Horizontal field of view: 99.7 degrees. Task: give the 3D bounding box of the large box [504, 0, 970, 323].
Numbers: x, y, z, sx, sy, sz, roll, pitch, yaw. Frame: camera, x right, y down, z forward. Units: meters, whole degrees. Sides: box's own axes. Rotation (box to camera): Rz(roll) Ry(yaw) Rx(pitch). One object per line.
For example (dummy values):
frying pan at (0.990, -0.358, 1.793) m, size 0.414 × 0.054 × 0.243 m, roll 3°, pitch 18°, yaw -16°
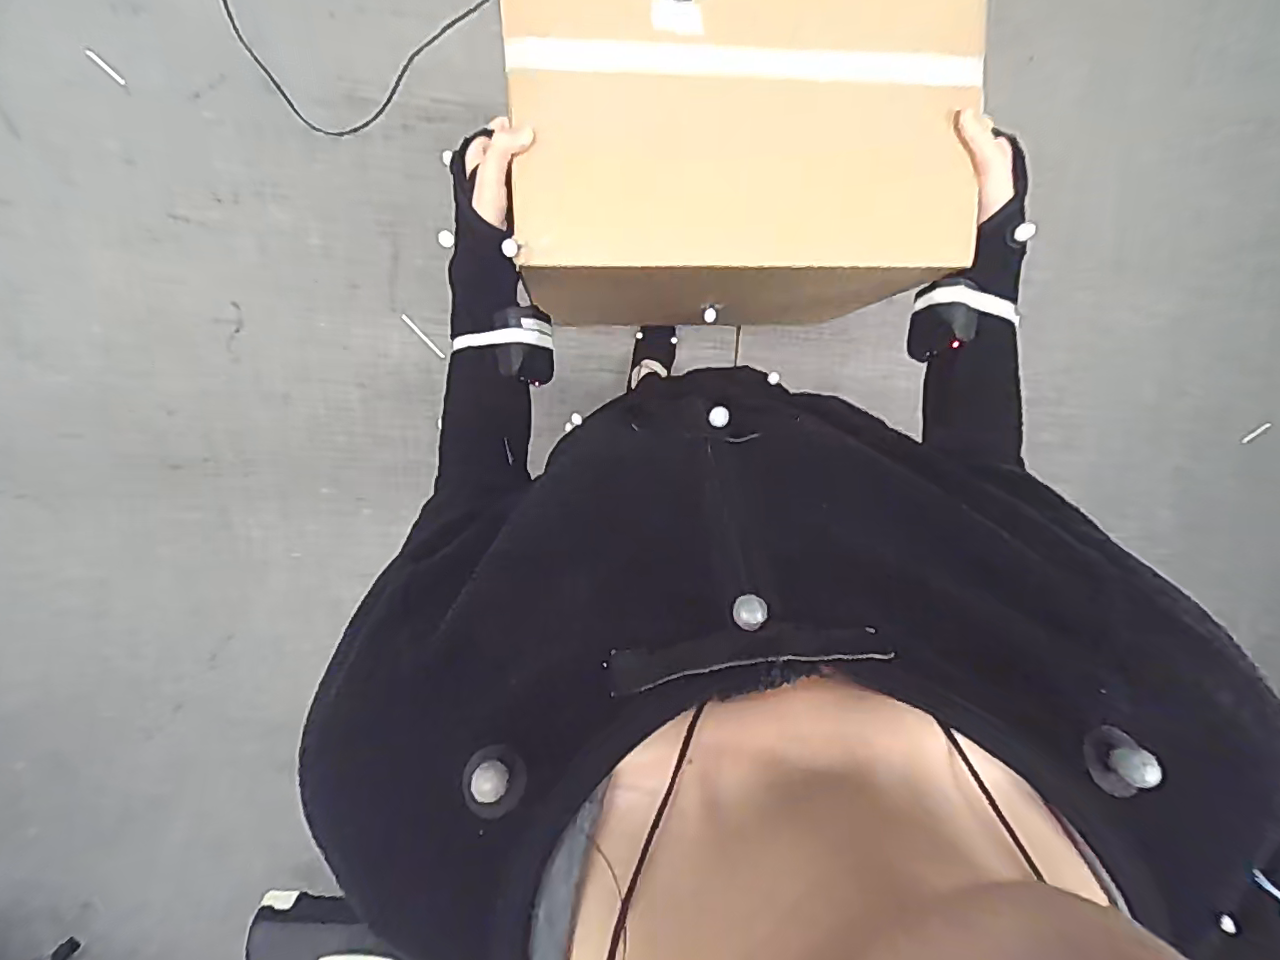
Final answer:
large box at (0.077, -0.358, 0.605) m, size 0.408 × 0.320 × 0.320 m, roll -3°, pitch 96°, yaw -5°
